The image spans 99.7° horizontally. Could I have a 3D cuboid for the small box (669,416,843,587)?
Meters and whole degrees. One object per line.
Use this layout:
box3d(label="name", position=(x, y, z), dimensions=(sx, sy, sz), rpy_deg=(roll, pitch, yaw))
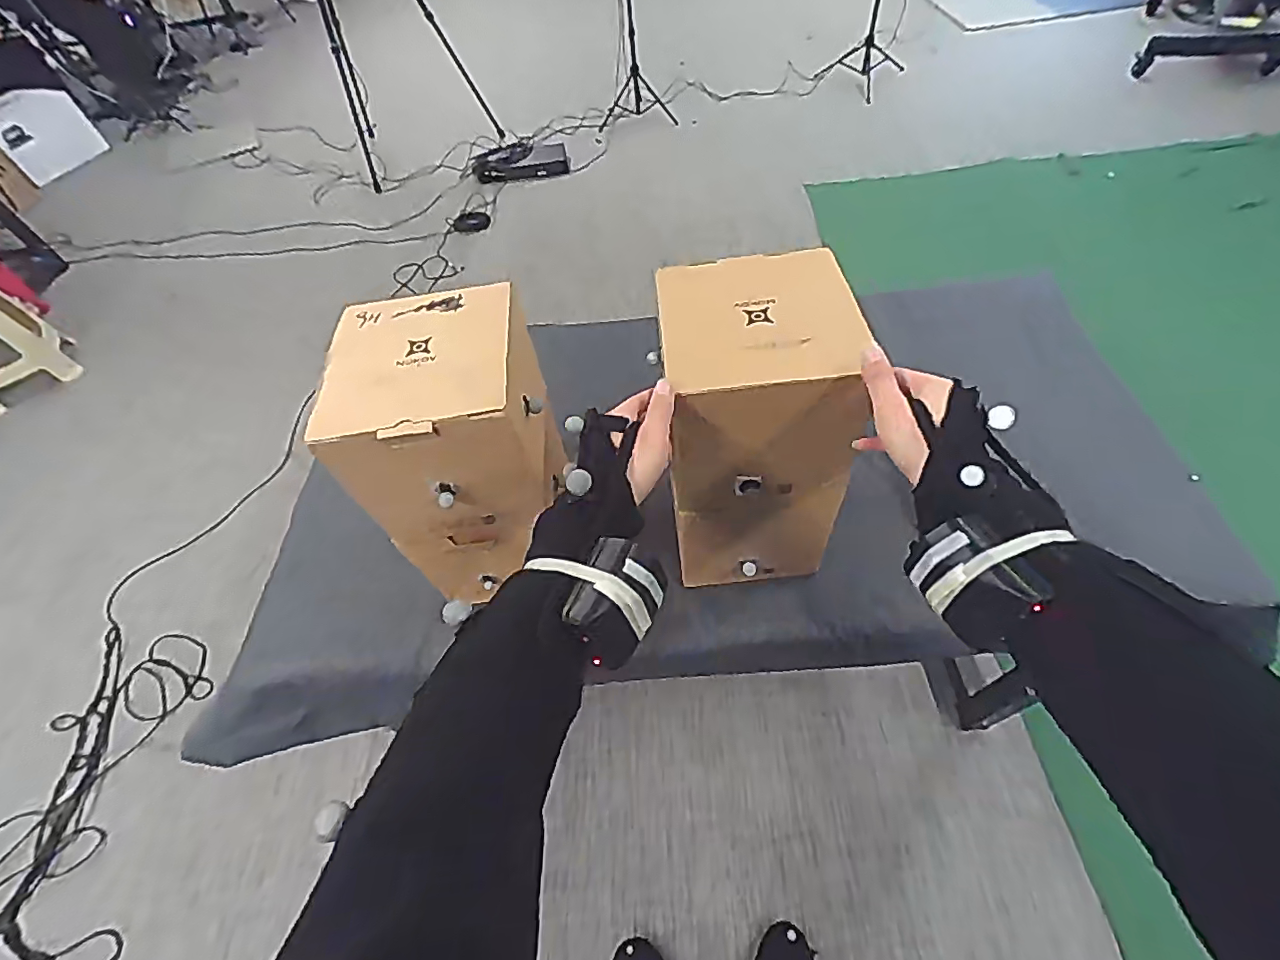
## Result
box3d(label="small box", position=(0.124, 0.008, 0.652), dimensions=(0.168, 0.176, 0.179), rpy_deg=(-7, 53, 3))

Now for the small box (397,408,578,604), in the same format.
box3d(label="small box", position=(-0.173, 0.034, 0.674), dimensions=(0.168, 0.176, 0.179), rpy_deg=(-7, 54, 1))

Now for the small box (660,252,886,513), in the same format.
box3d(label="small box", position=(0.109, -0.090, 0.522), dimensions=(0.168, 0.176, 0.179), rpy_deg=(-6, 52, 4))

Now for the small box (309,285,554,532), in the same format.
box3d(label="small box", position=(-0.184, -0.061, 0.540), dimensions=(0.168, 0.176, 0.179), rpy_deg=(-9, 54, 1))
